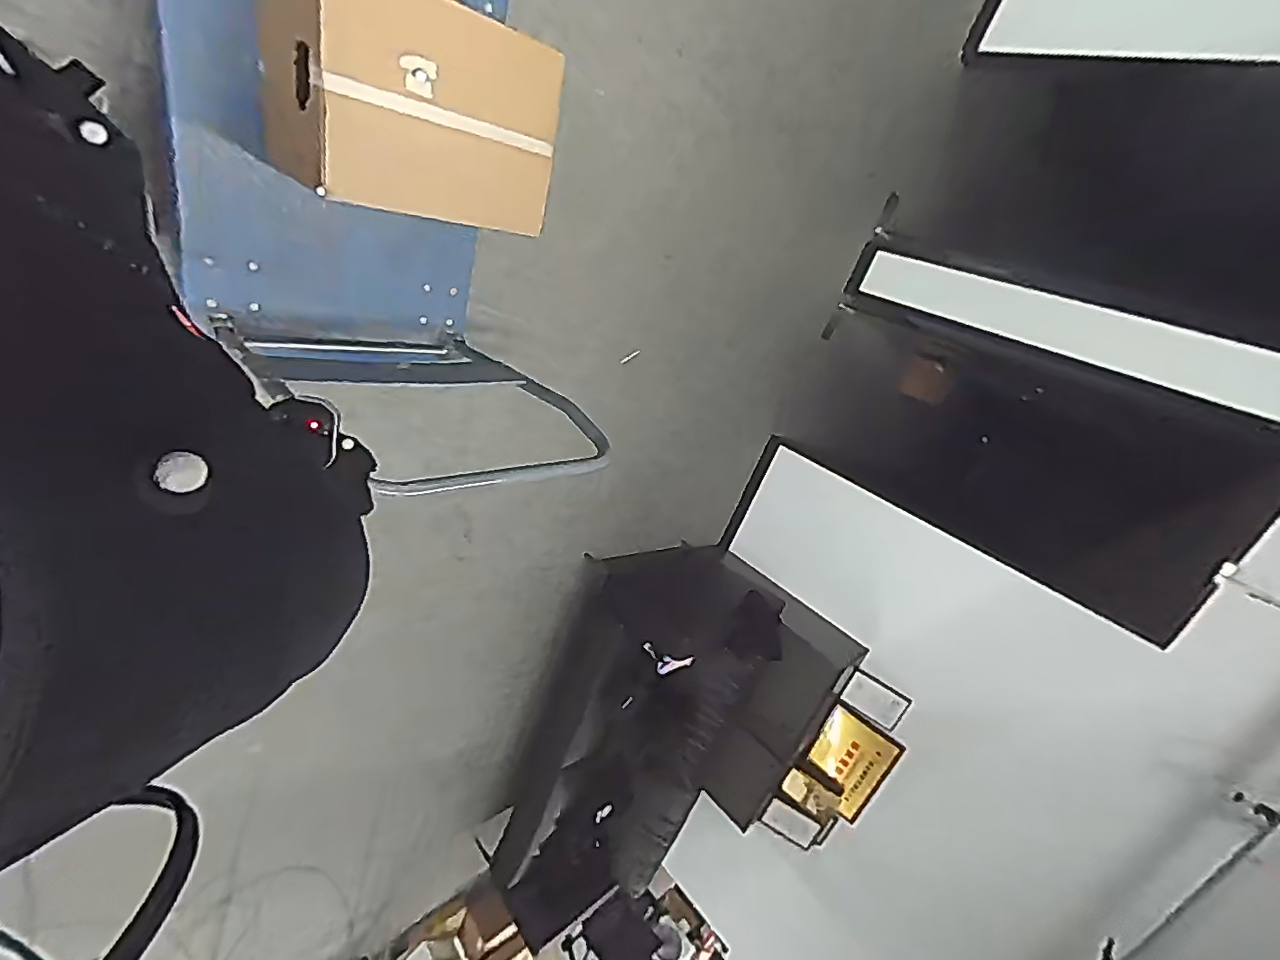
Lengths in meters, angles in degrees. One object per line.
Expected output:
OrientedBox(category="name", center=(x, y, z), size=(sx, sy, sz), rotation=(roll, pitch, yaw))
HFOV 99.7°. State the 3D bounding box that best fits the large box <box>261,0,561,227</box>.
OrientedBox(category="large box", center=(-0.412, -0.686, 0.990), size=(0.408, 0.320, 0.320), rotation=(-14, 129, -43))
